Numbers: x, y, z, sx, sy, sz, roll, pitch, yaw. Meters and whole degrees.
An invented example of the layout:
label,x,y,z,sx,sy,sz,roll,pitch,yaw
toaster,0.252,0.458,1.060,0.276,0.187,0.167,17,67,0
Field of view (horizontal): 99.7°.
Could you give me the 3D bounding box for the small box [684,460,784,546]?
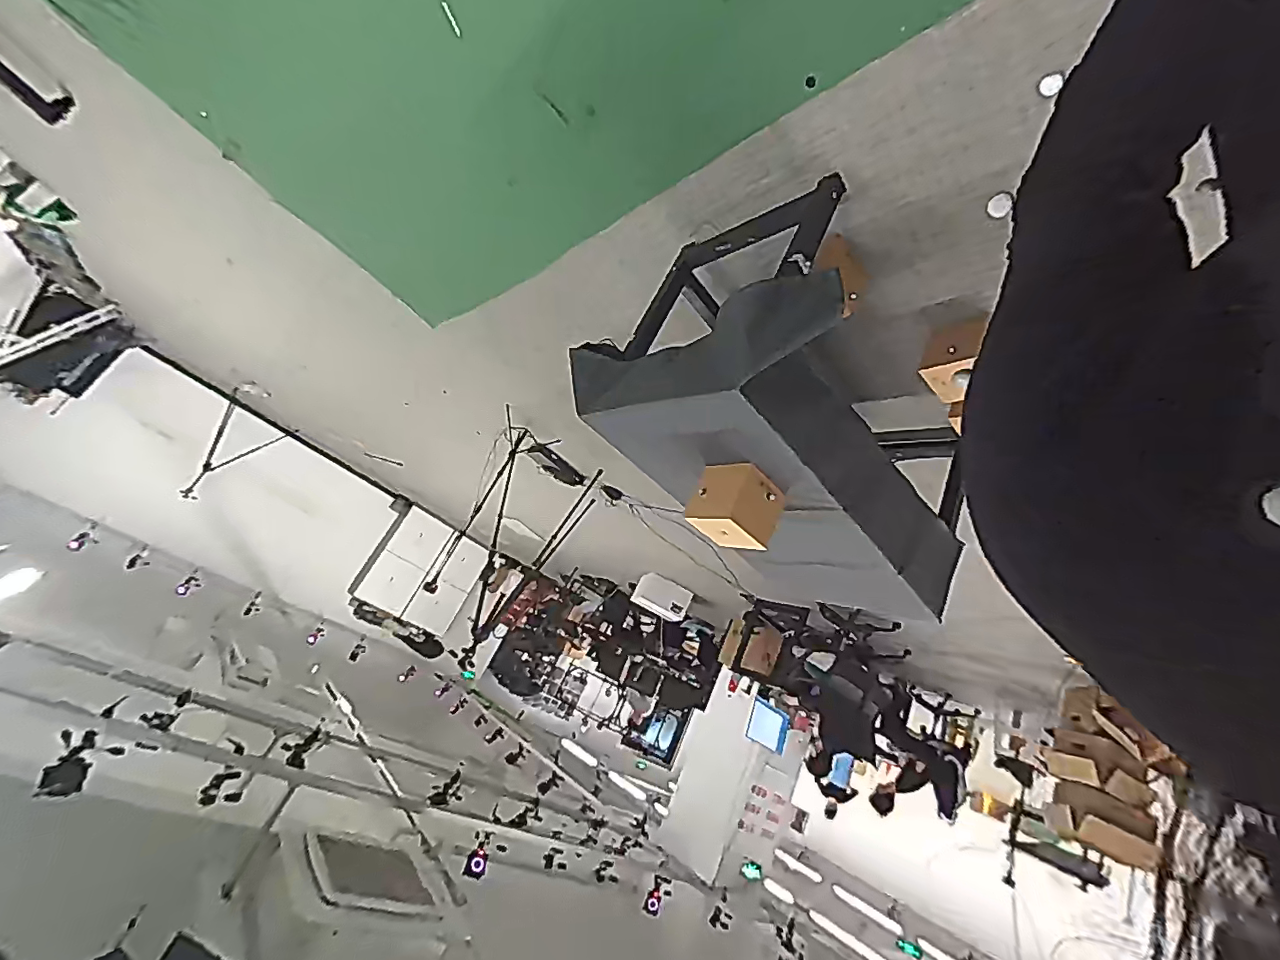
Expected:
label,x,y,z,sx,sy,sz,roll,pitch,yaw
small box,0.255,0.059,1.451,0.168,0.176,0.179,37,158,-30
